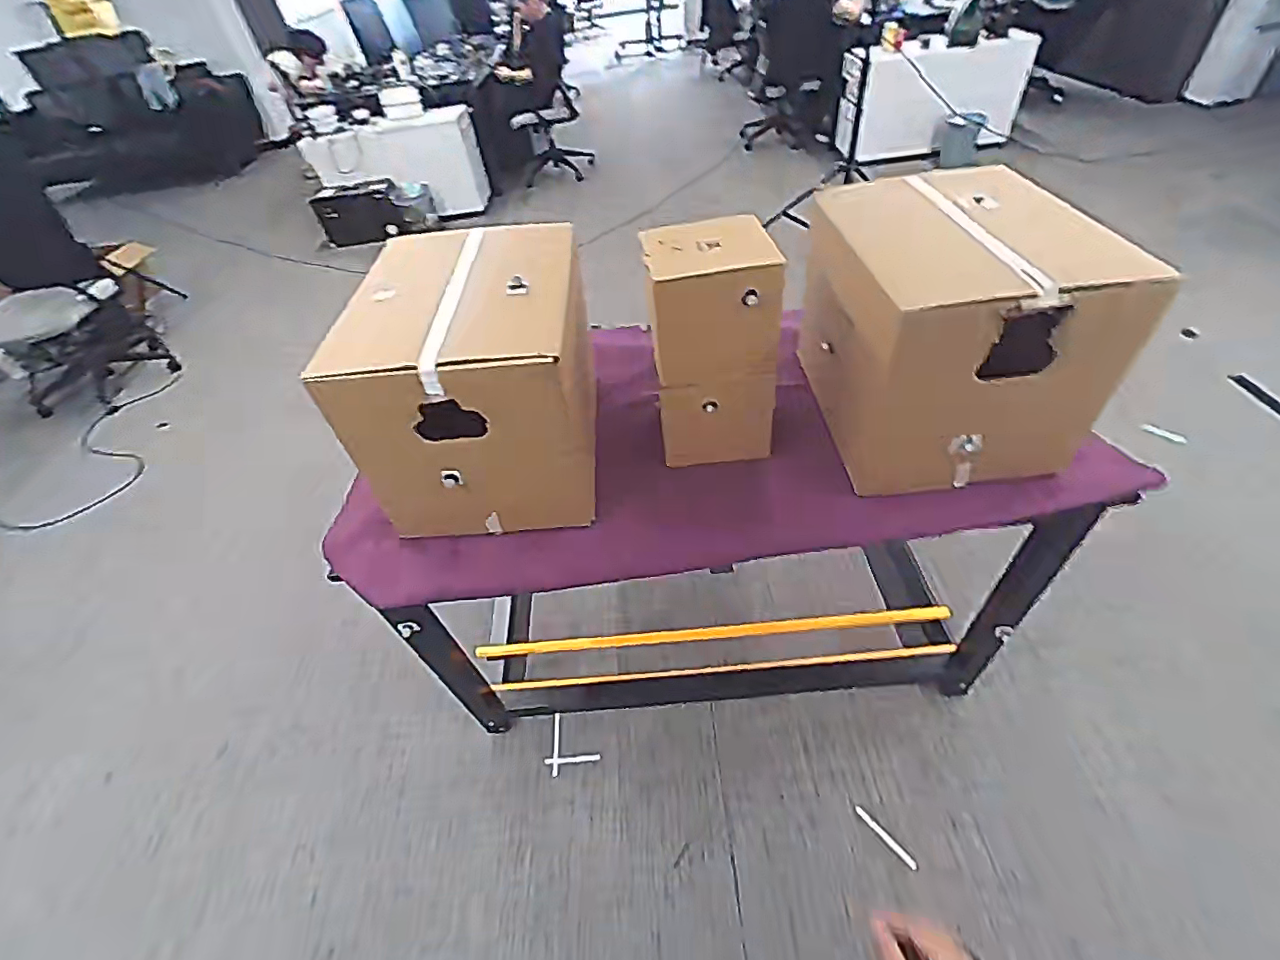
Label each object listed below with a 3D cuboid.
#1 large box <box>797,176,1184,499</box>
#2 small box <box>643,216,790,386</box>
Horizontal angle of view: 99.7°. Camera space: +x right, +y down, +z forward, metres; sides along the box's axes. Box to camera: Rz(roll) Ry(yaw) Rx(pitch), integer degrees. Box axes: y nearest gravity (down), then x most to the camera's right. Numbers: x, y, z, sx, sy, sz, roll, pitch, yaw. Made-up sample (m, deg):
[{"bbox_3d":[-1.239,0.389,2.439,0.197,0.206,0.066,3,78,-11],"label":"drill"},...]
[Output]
[{"bbox_3d":[0.457,-0.228,0.842,0.320,0.320,0.408,-6,44,2],"label":"large box"},{"bbox_3d":[0.104,-0.258,0.788,0.179,0.176,0.168,-9,45,1],"label":"small box"}]
